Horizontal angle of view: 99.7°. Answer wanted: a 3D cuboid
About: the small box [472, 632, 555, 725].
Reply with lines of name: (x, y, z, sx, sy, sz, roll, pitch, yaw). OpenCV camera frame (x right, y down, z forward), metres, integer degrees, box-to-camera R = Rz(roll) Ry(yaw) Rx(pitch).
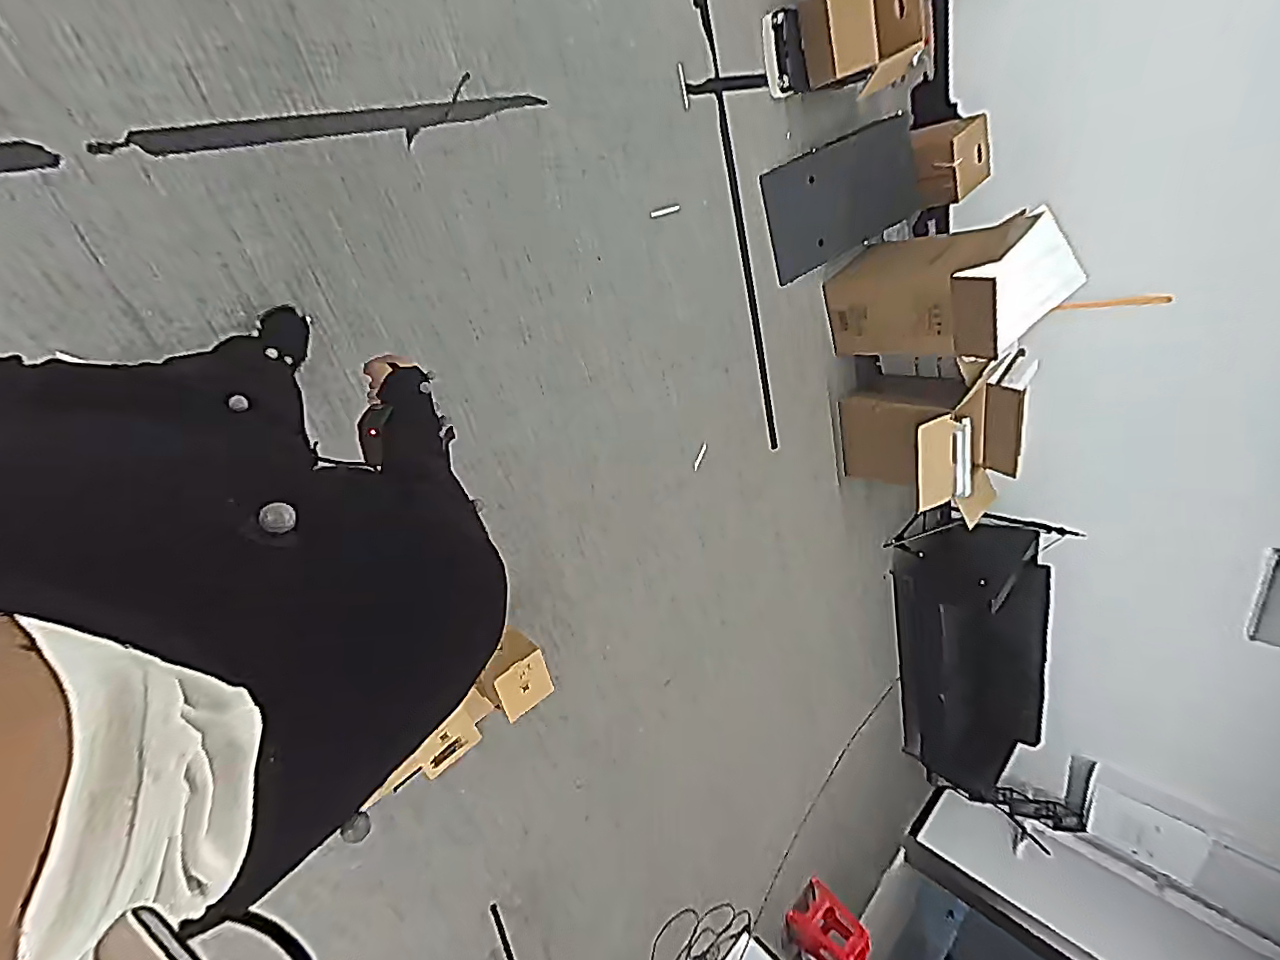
small box: (-0.395, 0.609, 1.681, 0.168, 0.176, 0.179, -29, 118, -33)

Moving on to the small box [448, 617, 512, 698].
small box: (-0.511, 0.577, 1.794, 0.168, 0.176, 0.179, -30, 118, -33)
